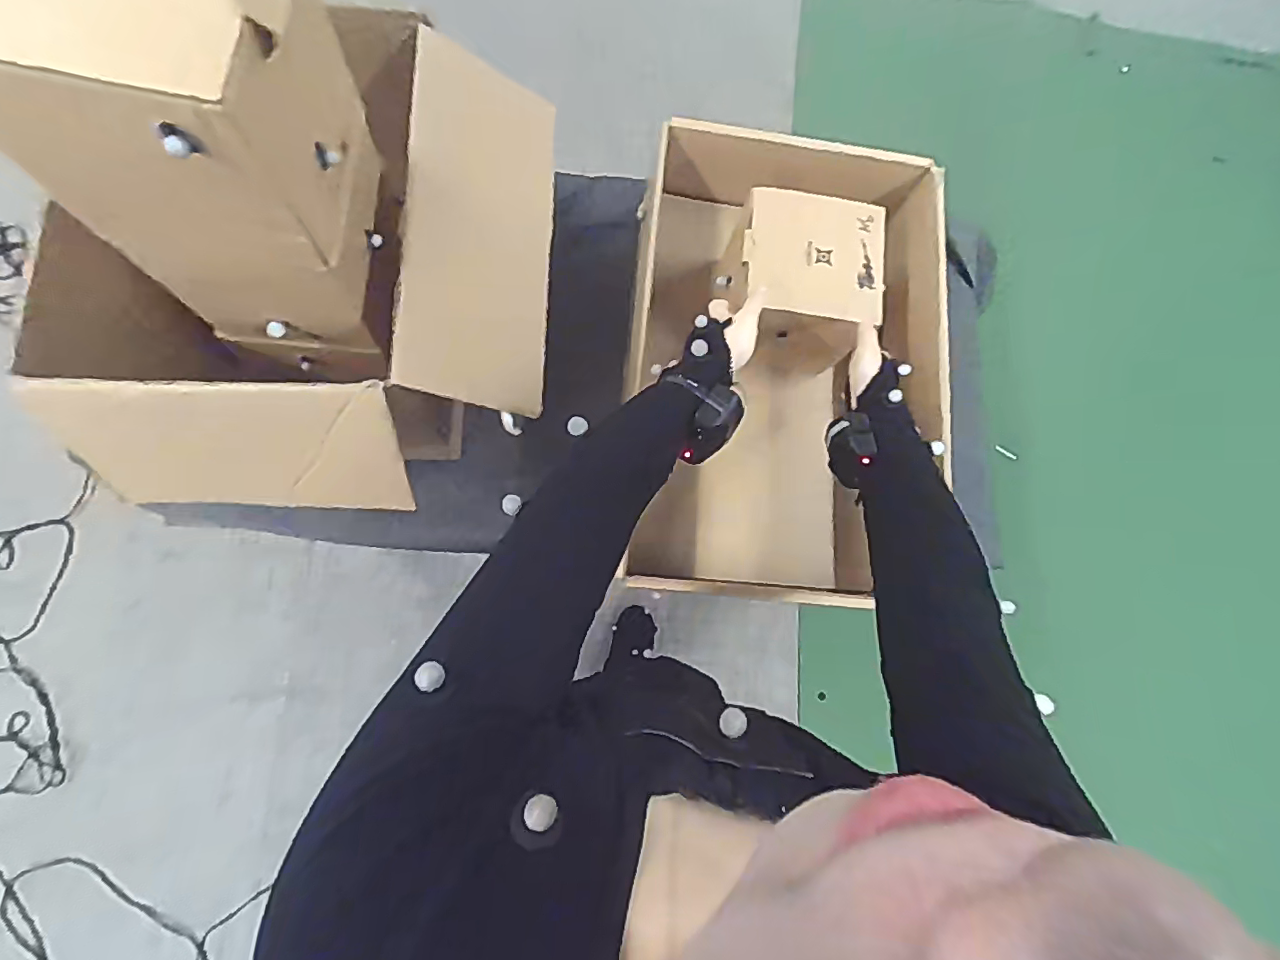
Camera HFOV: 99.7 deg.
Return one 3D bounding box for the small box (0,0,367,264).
[{"bbox_3d":[-0.324,-0.281,0.389,0.179,0.176,0.168,5,77,-10],"label":"small box"}]
